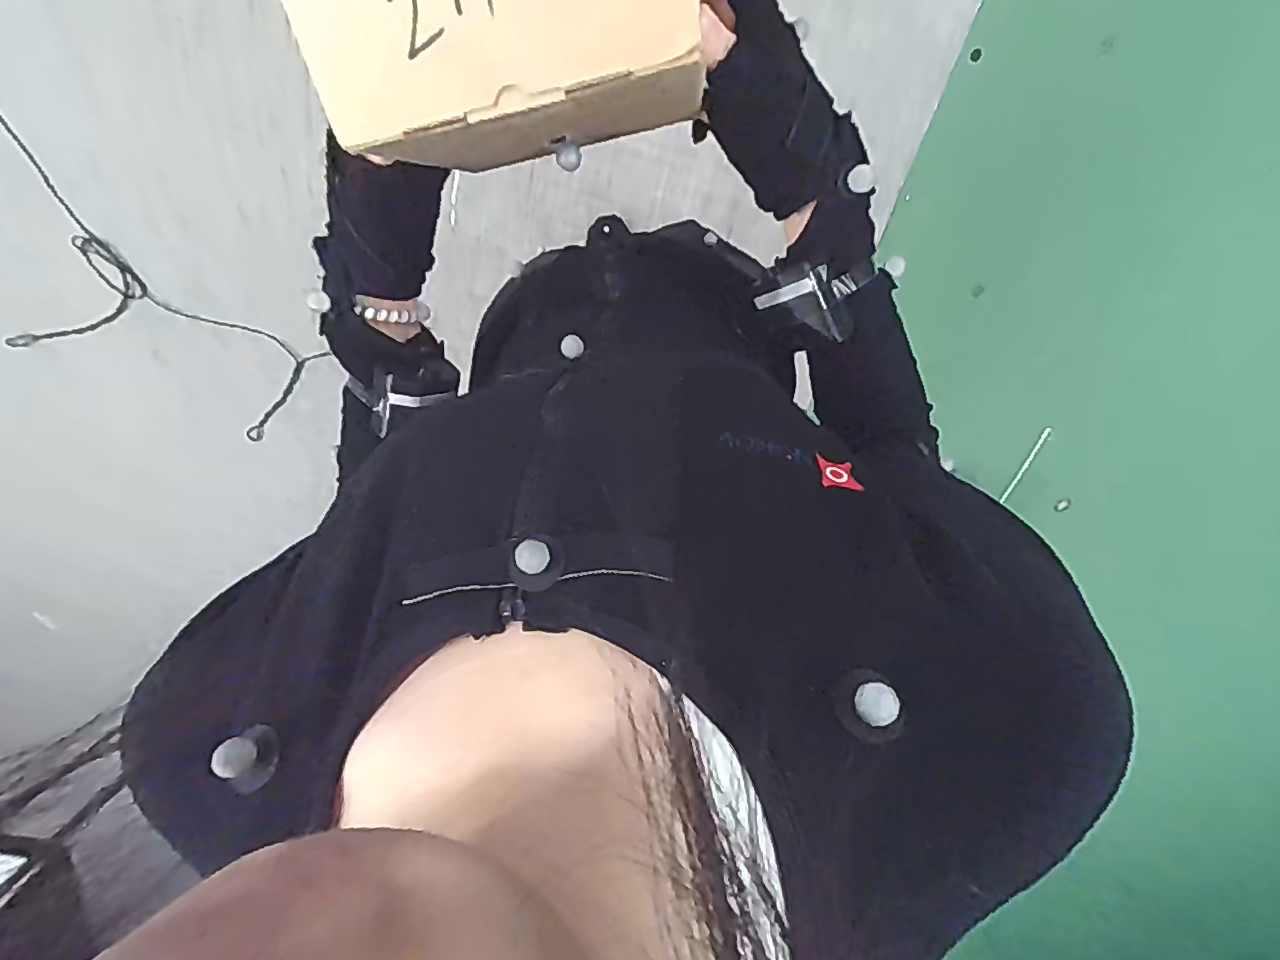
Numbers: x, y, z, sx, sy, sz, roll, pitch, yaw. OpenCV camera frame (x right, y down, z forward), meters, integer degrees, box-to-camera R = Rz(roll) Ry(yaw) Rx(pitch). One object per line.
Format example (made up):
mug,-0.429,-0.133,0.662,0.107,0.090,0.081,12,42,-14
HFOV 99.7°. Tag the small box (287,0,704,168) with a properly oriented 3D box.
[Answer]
small box,-0.064,-0.272,0.266,0.168,0.176,0.179,-9,117,10
